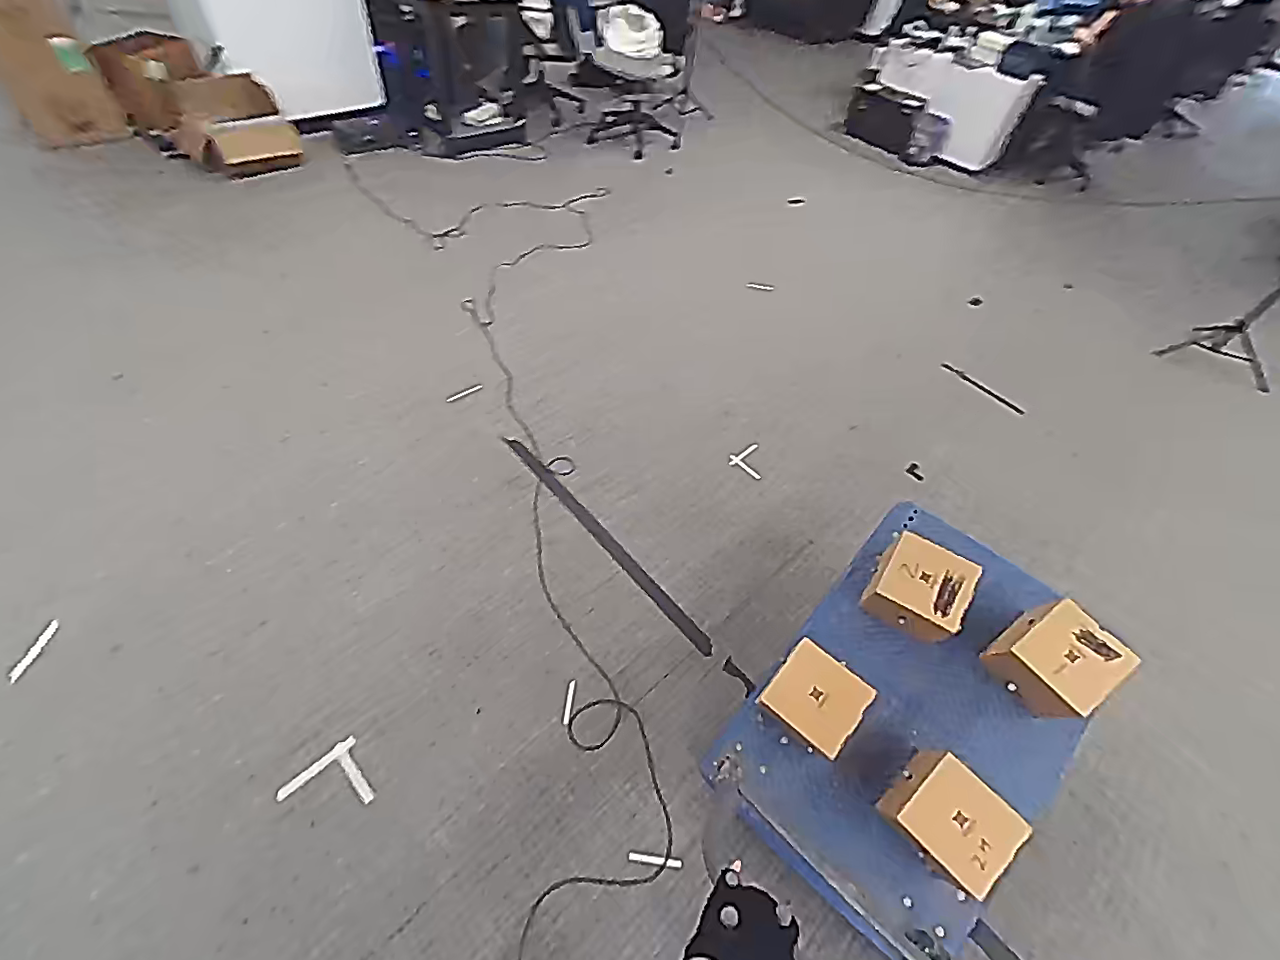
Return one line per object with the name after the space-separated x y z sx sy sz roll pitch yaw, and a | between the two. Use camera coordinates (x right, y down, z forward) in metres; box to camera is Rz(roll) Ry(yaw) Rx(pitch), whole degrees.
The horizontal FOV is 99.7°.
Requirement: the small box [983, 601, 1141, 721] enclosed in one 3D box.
0.880 0.387 1.150 0.179 0.176 0.168 -37 66 -9 | small box

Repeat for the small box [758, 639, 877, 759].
0.375 0.477 1.177 0.179 0.176 0.168 37 74 20 | small box

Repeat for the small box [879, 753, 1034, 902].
0.602 0.665 1.057 0.168 0.176 0.179 -42 66 -12 | small box
